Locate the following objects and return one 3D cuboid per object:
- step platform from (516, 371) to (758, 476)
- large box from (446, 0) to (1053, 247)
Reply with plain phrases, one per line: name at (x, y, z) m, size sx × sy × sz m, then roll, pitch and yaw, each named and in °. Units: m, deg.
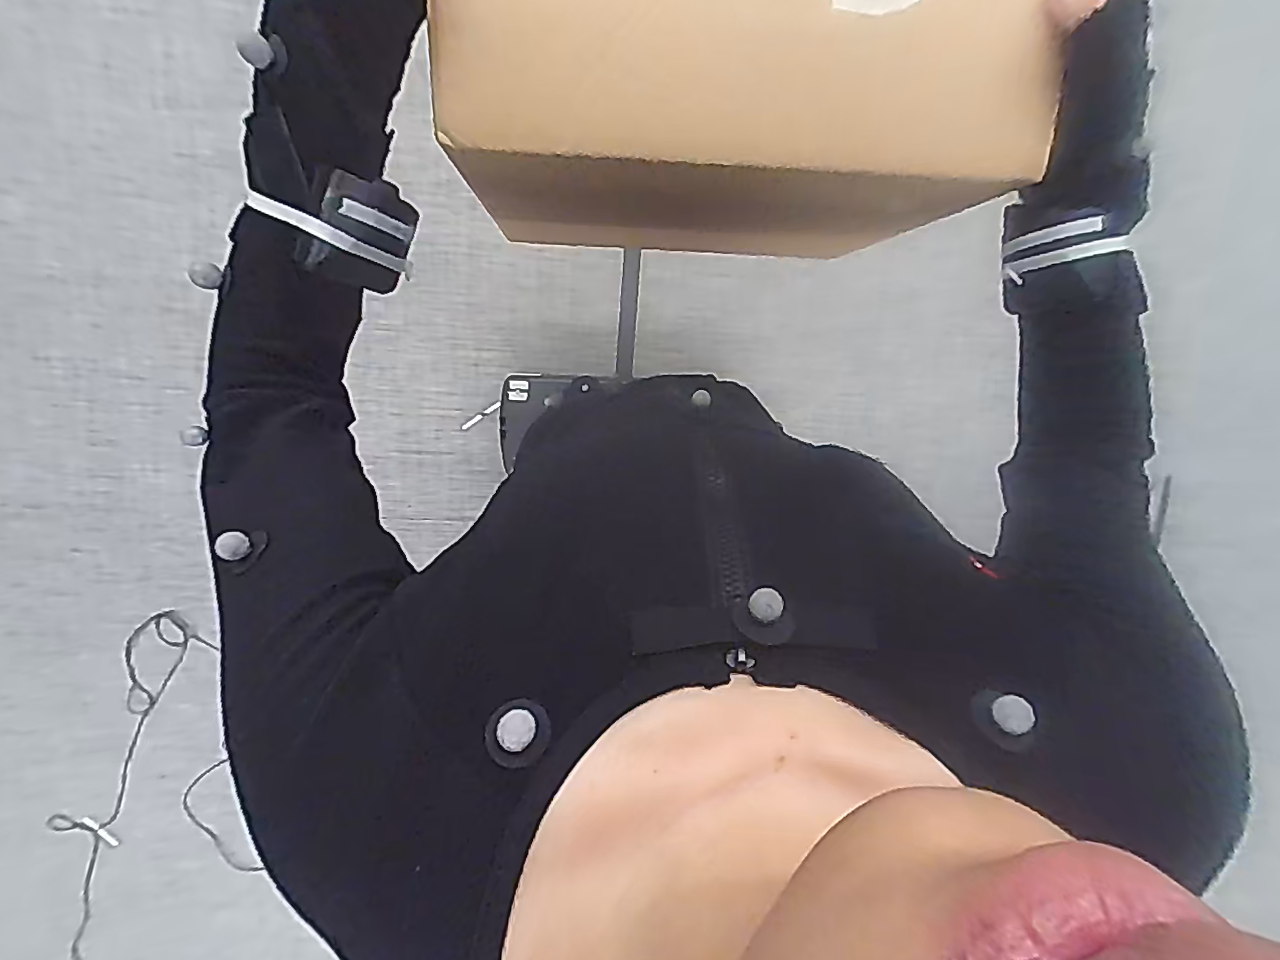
step platform at (-0.009, -0.165, 1.555) m, size 0.684 × 0.204 × 0.286 m, roll 0°, pitch 101°, yaw -5°
large box at (0.061, -0.399, 0.473) m, size 0.408 × 0.320 × 0.320 m, roll -1°, pitch 104°, yaw -6°
